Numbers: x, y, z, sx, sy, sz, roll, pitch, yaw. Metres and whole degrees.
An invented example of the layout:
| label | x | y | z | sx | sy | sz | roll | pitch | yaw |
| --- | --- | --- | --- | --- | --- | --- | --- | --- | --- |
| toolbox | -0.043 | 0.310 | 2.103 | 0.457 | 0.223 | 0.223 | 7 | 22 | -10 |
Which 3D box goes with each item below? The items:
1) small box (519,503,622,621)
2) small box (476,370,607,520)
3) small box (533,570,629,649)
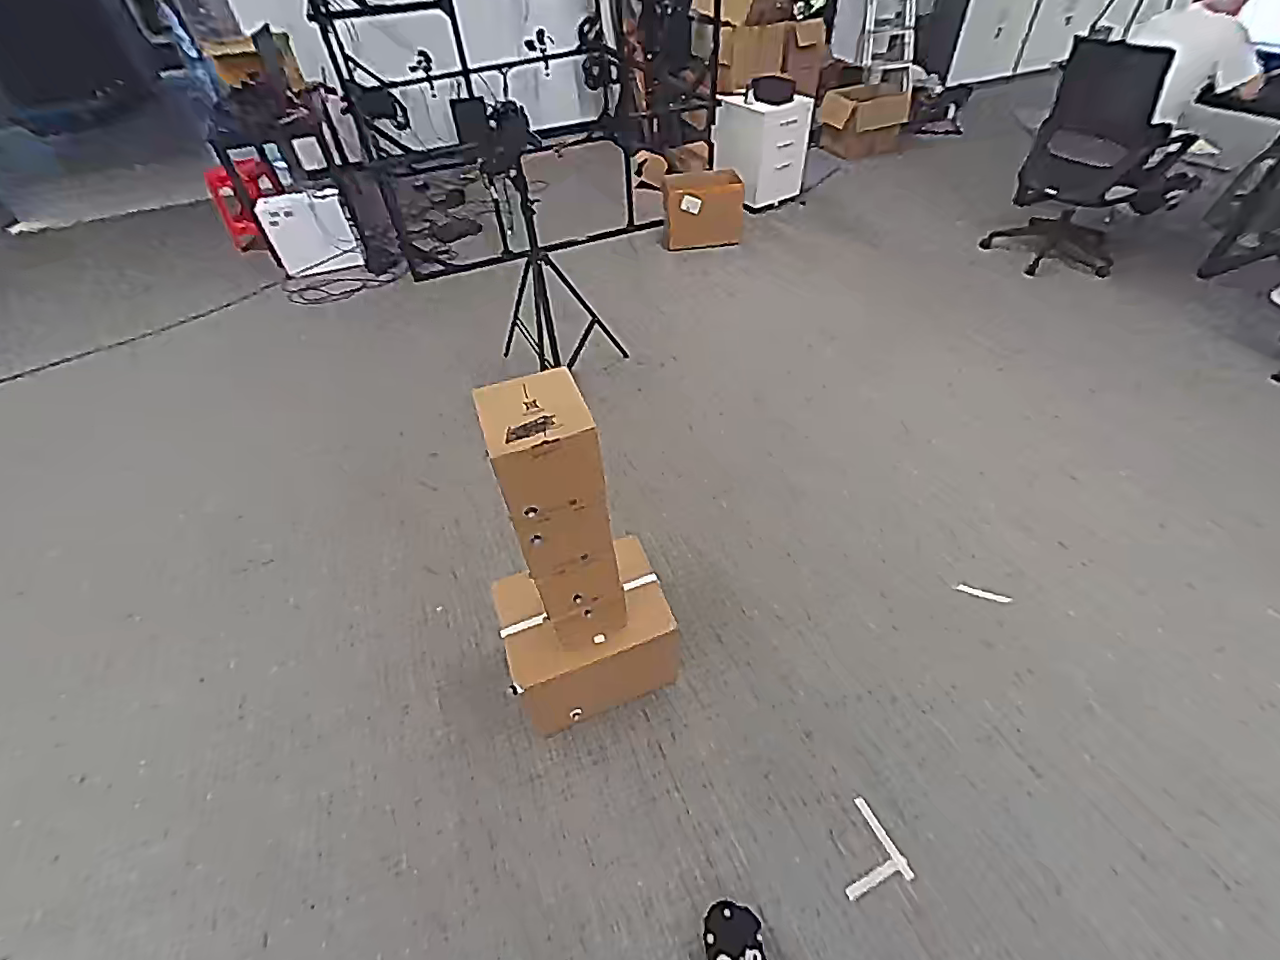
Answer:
| label | x | y | z | sx | sy | sz | roll | pitch | yaw |
| --- | --- | --- | --- | --- | --- | --- | --- | --- | --- |
| small box | -0.146 | 0.167 | 1.155 | 0.168 | 0.176 | 0.179 | -19 | 50 | -13 |
| small box | -0.162 | -0.052 | 0.912 | 0.168 | 0.176 | 0.179 | -17 | 48 | -12 |
| small box | -0.137 | 0.271 | 1.280 | 0.179 | 0.176 | 0.168 | -19 | 50 | -15 |
